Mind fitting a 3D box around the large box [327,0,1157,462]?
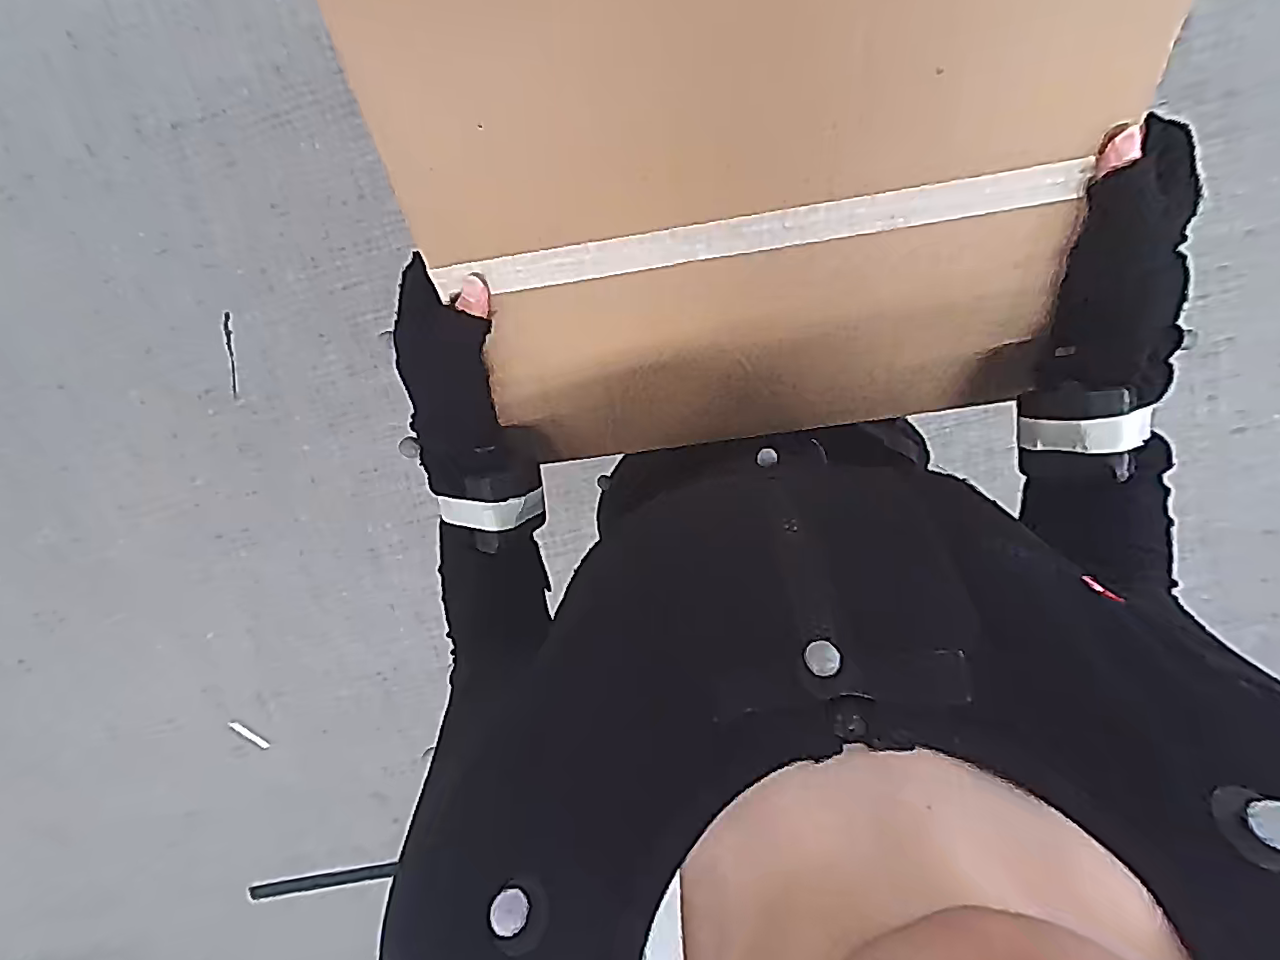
[{"bbox_3d":[0.065,-0.254,0.444,0.408,0.320,0.320,-8,133,5],"label":"large box"}]
